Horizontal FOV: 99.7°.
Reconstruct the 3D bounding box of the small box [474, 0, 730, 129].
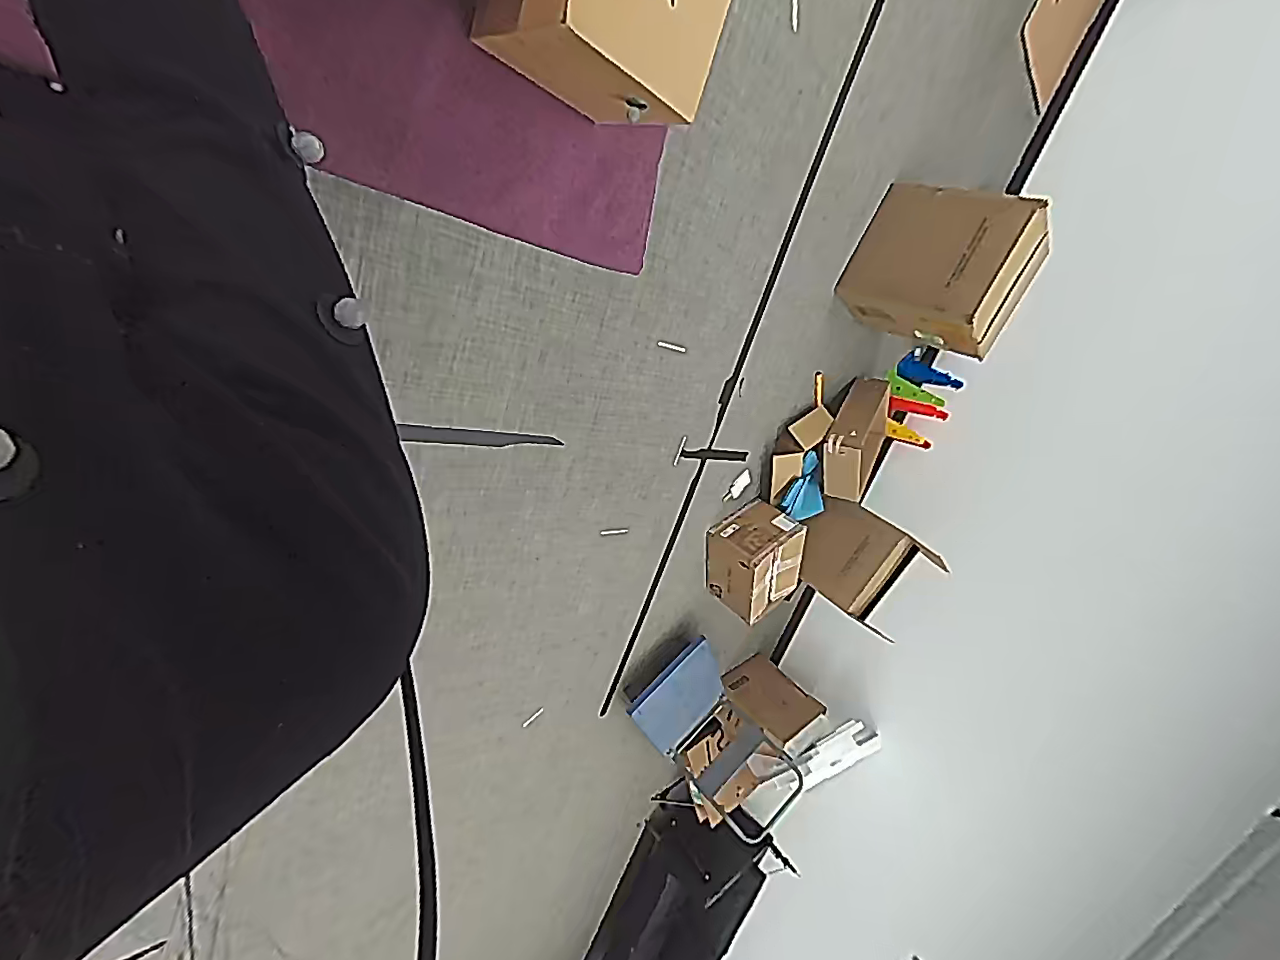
[{"bbox_3d":[-0.033,-0.482,0.537,0.179,0.176,0.168,1,114,-47],"label":"small box"}]
